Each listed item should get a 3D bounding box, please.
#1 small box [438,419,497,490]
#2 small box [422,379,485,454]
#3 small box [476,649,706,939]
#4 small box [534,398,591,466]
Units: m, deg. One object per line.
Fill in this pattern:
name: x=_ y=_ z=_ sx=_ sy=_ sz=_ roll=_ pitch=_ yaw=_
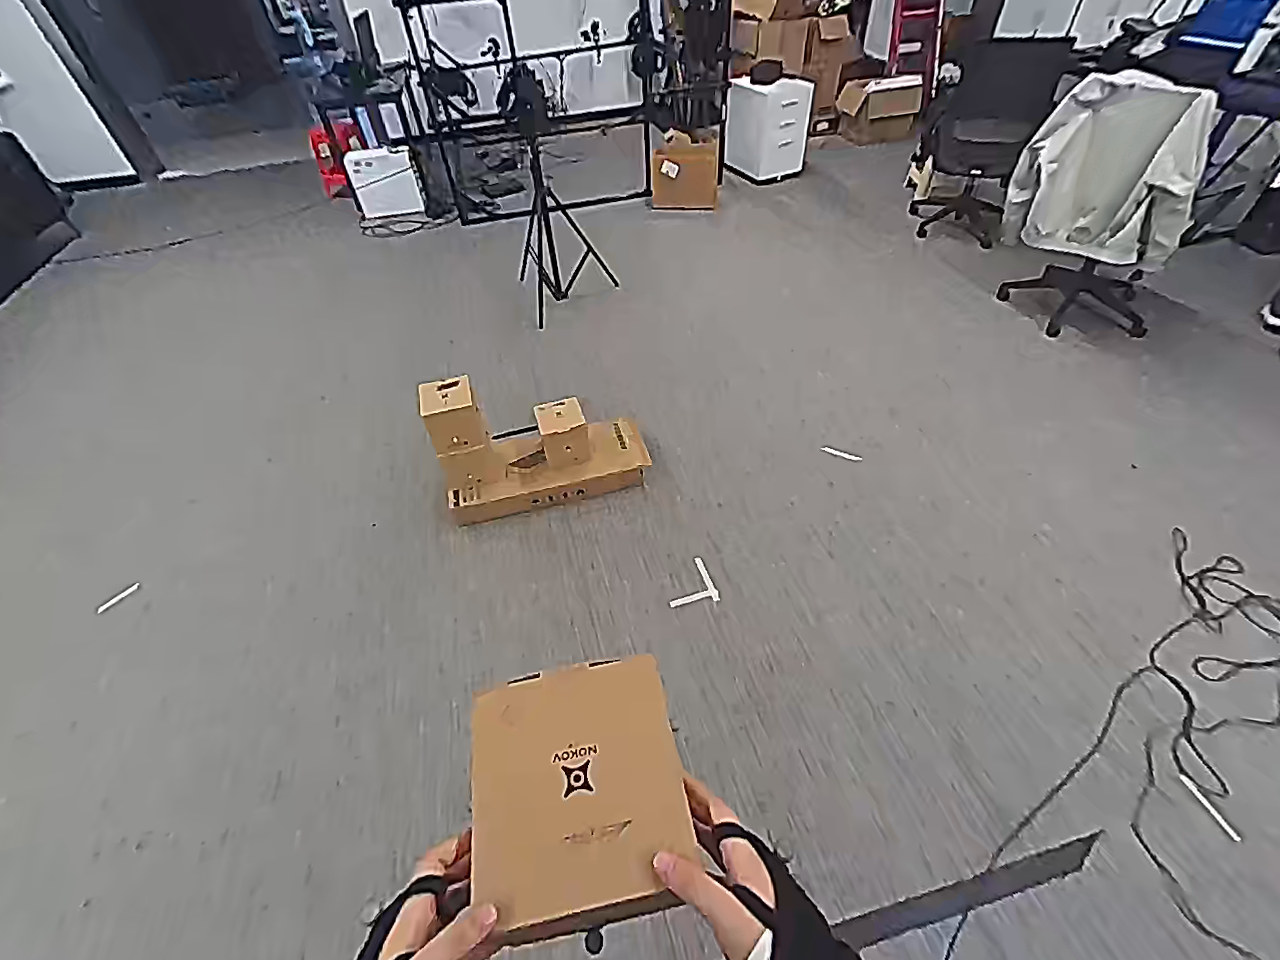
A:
small box: x=-0.620 y=-0.092 z=1.949 sx=0.168 sy=0.176 sz=0.179 roll=-14 pitch=46 yaw=-9
small box: x=-0.635 y=-0.217 z=1.843 sx=0.168 sy=0.176 sz=0.179 roll=-15 pitch=47 yaw=-10
small box: x=-0.045 y=0.284 z=0.491 sx=0.168 sy=0.176 sz=0.179 roll=-10 pitch=48 yaw=-6
small box: x=-0.284 y=-0.171 z=2.001 sx=0.168 sy=0.176 sz=0.179 roll=-15 pitch=47 yaw=-10
